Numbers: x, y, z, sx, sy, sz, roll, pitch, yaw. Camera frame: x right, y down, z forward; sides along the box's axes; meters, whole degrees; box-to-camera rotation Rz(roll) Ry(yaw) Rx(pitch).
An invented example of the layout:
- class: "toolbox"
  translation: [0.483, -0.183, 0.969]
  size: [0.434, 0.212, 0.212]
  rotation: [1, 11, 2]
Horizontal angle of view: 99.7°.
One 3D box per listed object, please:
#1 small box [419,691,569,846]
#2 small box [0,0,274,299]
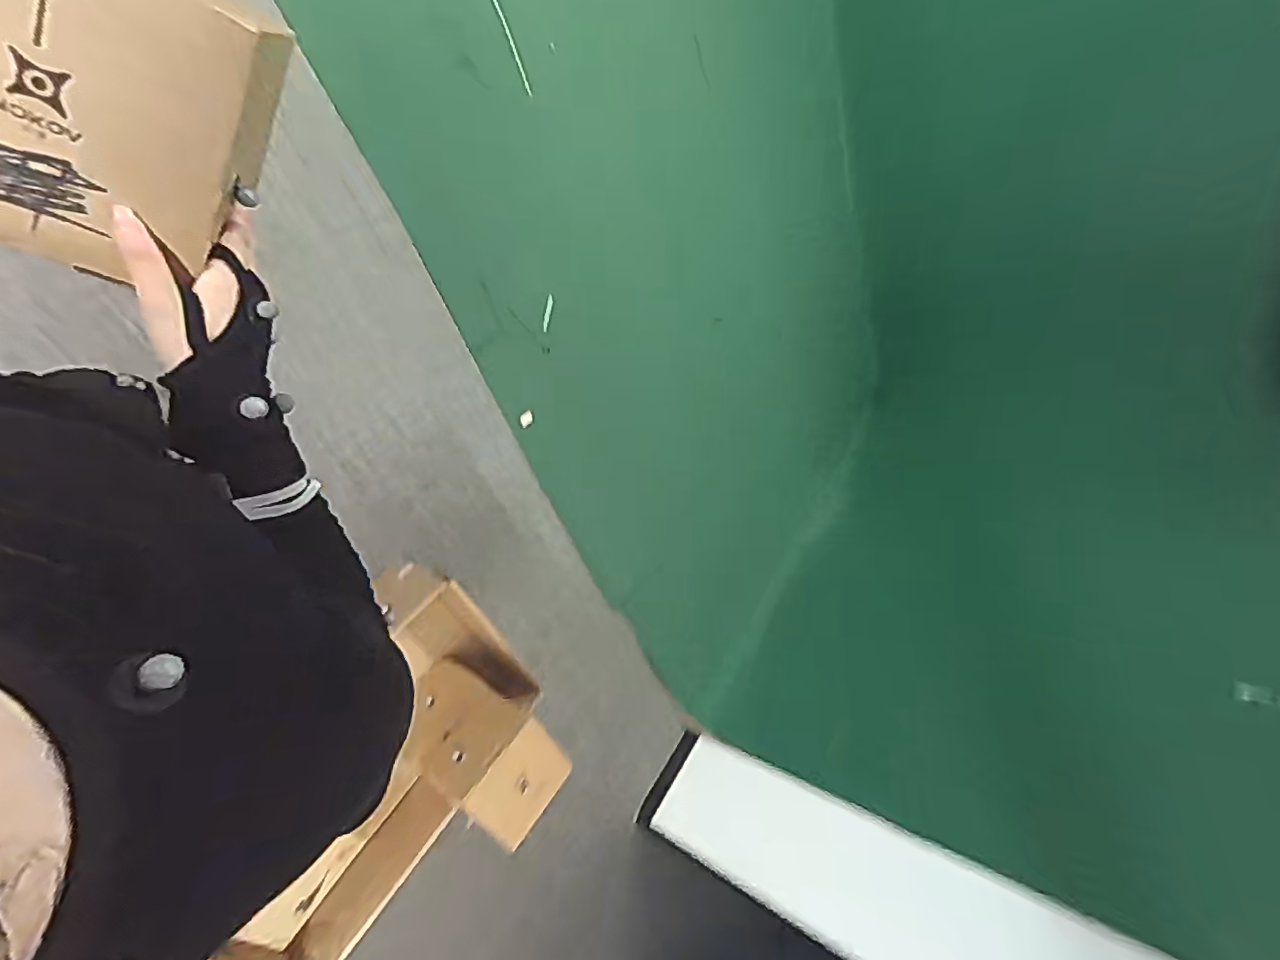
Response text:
- class: "small box"
  translation: [-0.270, 0.517, 0.997]
  size: [0.168, 0.176, 0.179]
  rotation: [-46, 128, -33]
- class: "small box"
  translation: [-0.352, -0.253, 0.343]
  size: [0.168, 0.176, 0.179]
  rotation: [15, 118, -35]
